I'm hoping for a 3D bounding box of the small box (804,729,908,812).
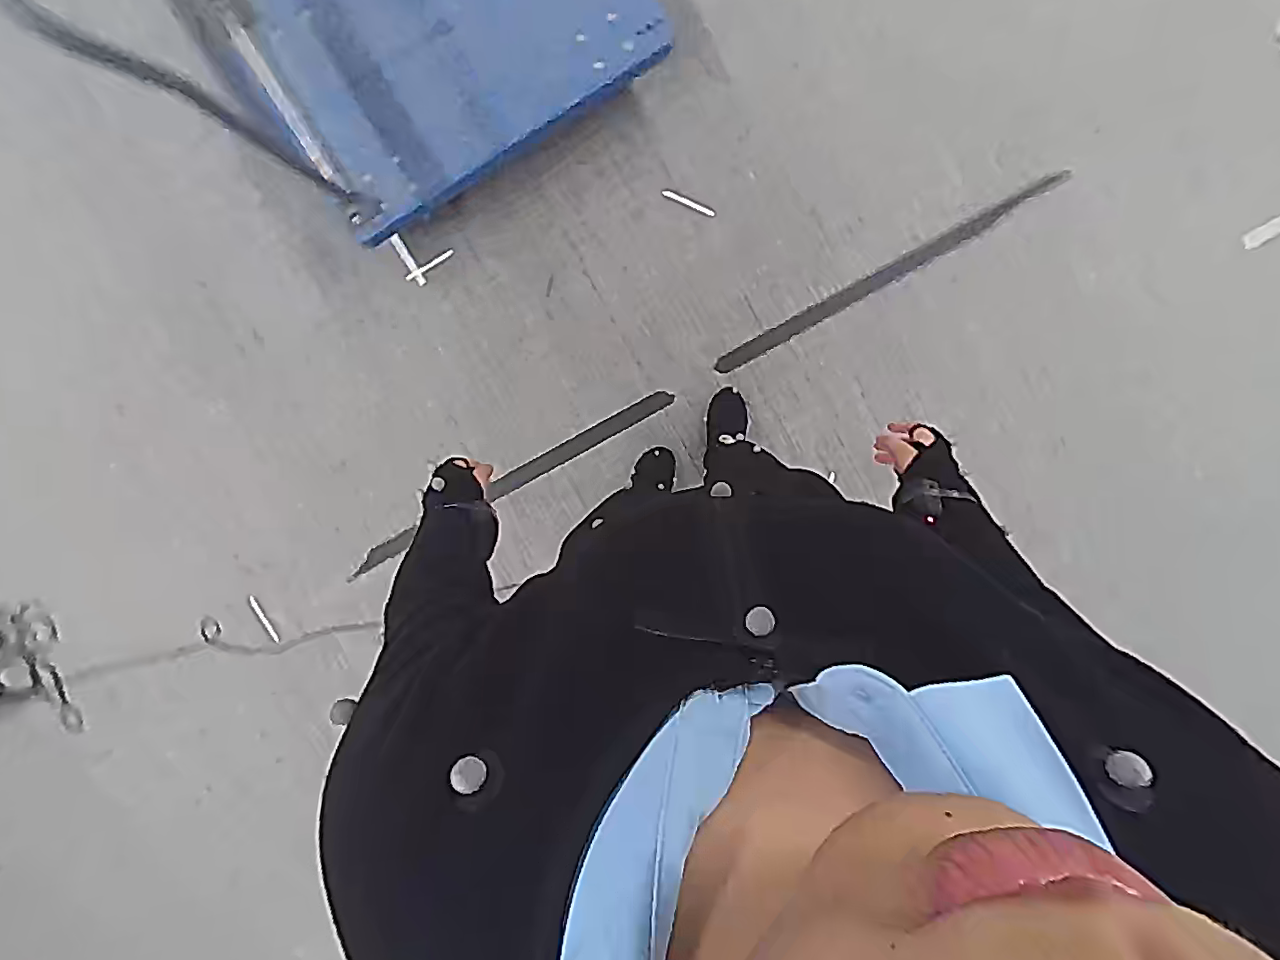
[{"bbox_3d":[0.528,0.754,1.324,0.168,0.176,0.179,-25,95,1],"label":"small box"}]
